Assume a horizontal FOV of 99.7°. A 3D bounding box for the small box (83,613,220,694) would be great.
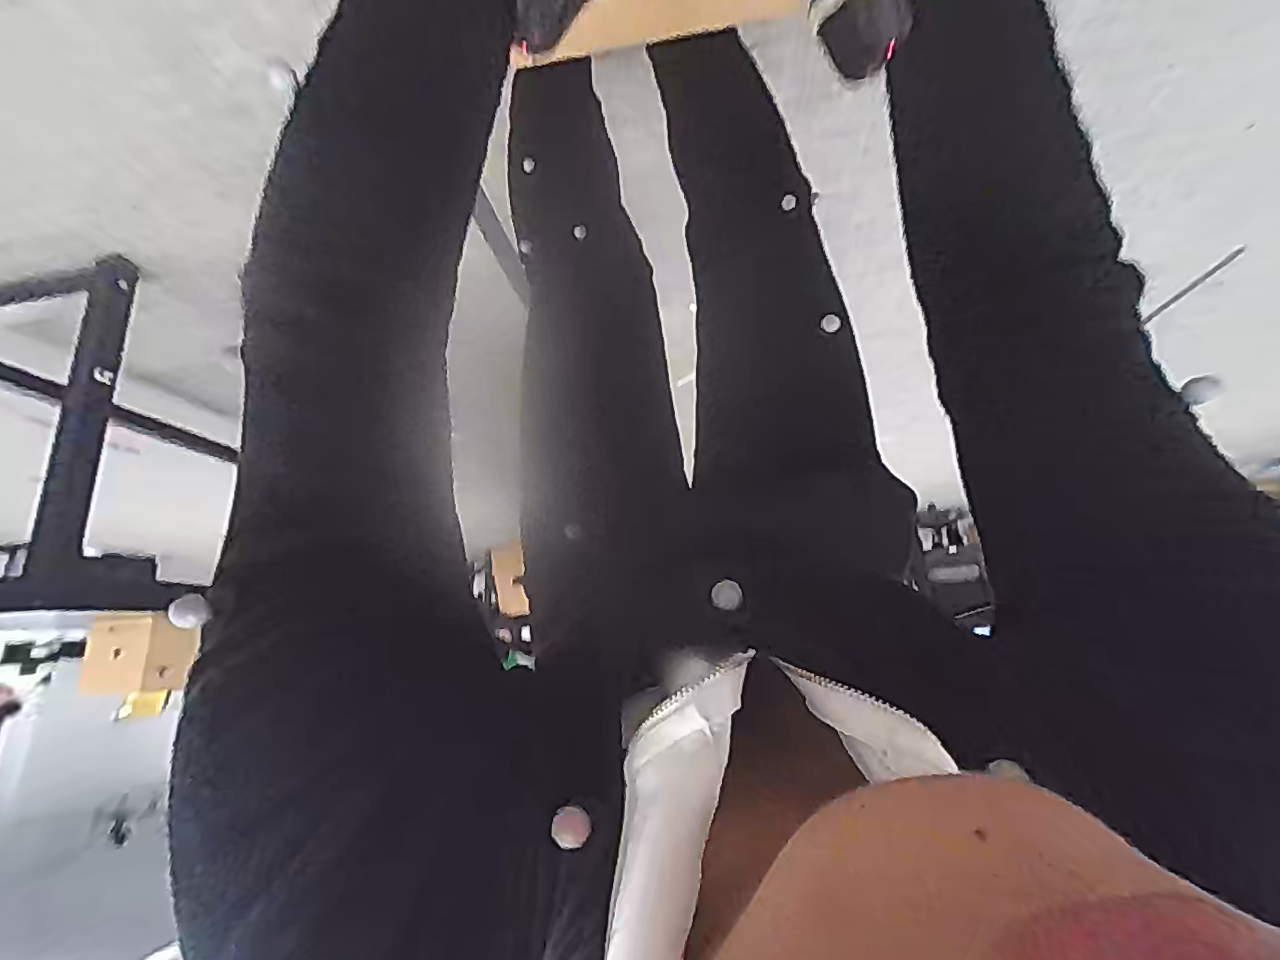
[{"bbox_3d":[-1.171,0.415,1.310,0.168,0.176,0.179,-5,165,8],"label":"small box"}]
